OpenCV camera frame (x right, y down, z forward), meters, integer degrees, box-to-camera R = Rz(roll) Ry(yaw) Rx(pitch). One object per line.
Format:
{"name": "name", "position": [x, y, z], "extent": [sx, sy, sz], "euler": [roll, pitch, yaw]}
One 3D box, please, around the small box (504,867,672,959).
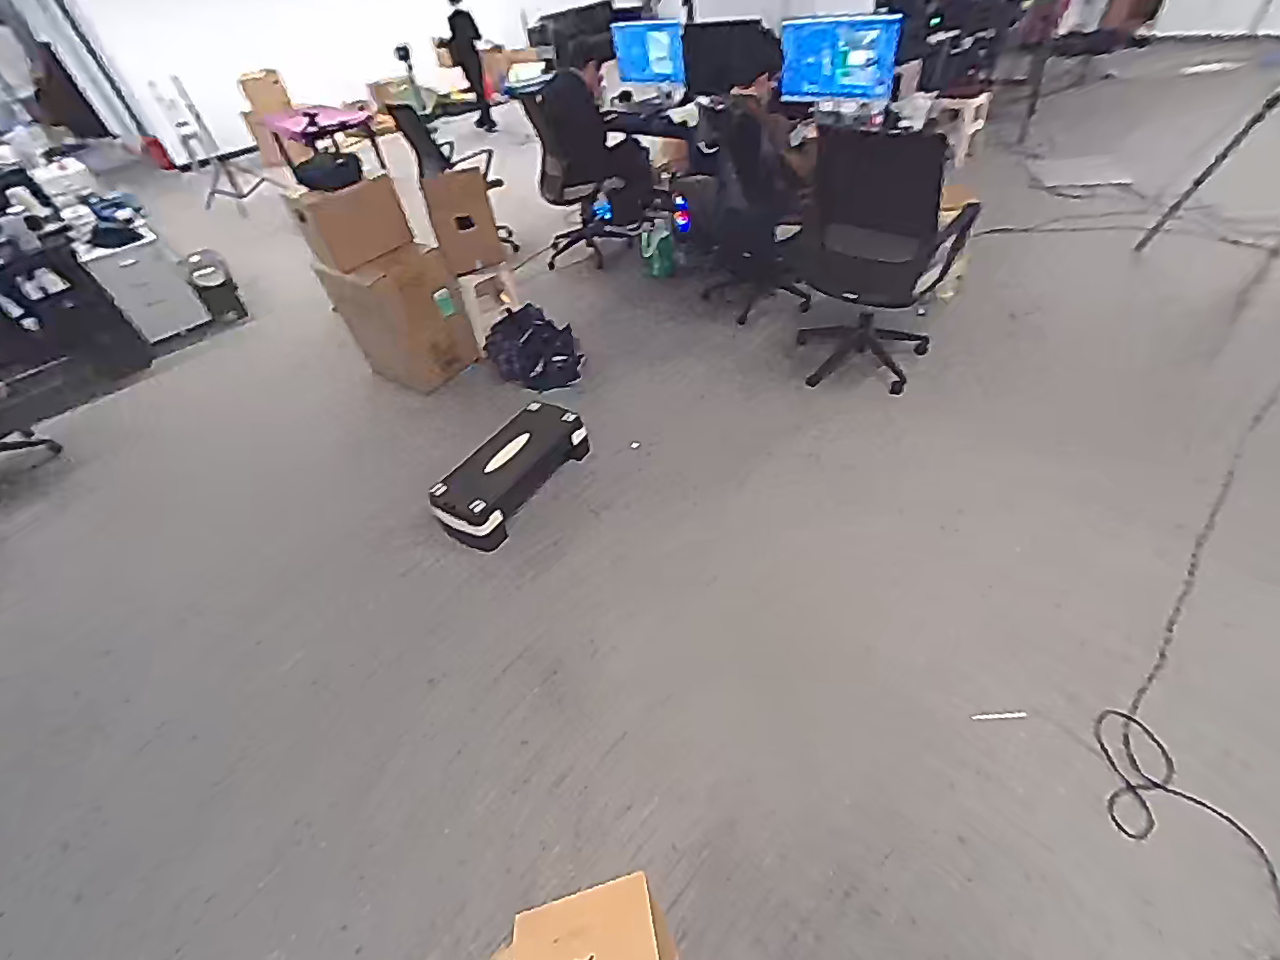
{"name": "small box", "position": [-0.046, 0.592, 0.598], "extent": [0.168, 0.176, 0.179], "euler": [-18, 19, -3]}
